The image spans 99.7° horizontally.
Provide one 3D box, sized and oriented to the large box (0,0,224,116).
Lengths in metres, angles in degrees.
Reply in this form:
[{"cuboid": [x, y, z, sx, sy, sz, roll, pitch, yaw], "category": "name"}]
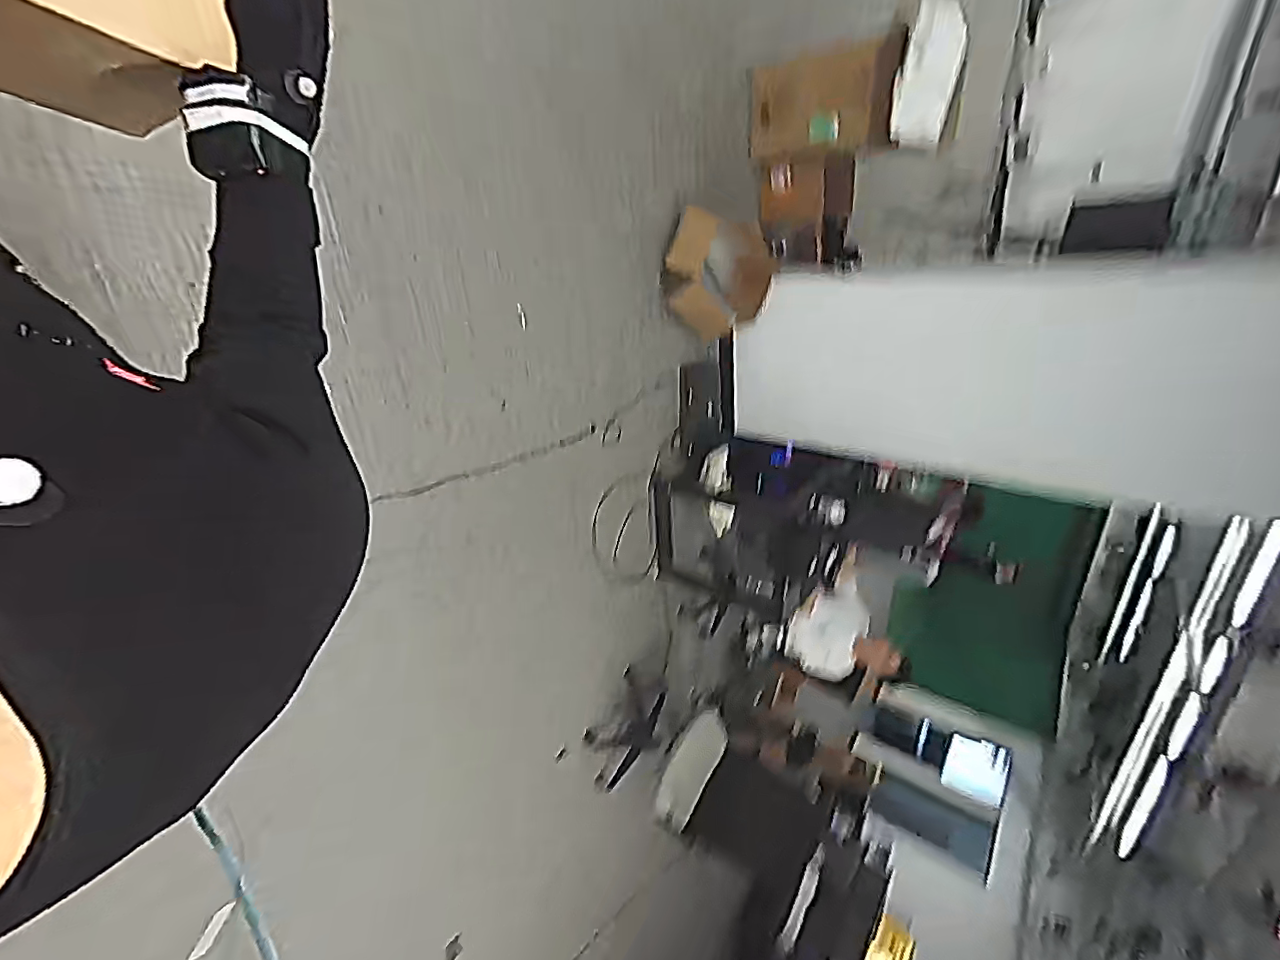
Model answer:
[{"cuboid": [-0.536, -0.477, 0.308, 0.408, 0.320, 0.320, -8, 112, -52], "category": "large box"}]
